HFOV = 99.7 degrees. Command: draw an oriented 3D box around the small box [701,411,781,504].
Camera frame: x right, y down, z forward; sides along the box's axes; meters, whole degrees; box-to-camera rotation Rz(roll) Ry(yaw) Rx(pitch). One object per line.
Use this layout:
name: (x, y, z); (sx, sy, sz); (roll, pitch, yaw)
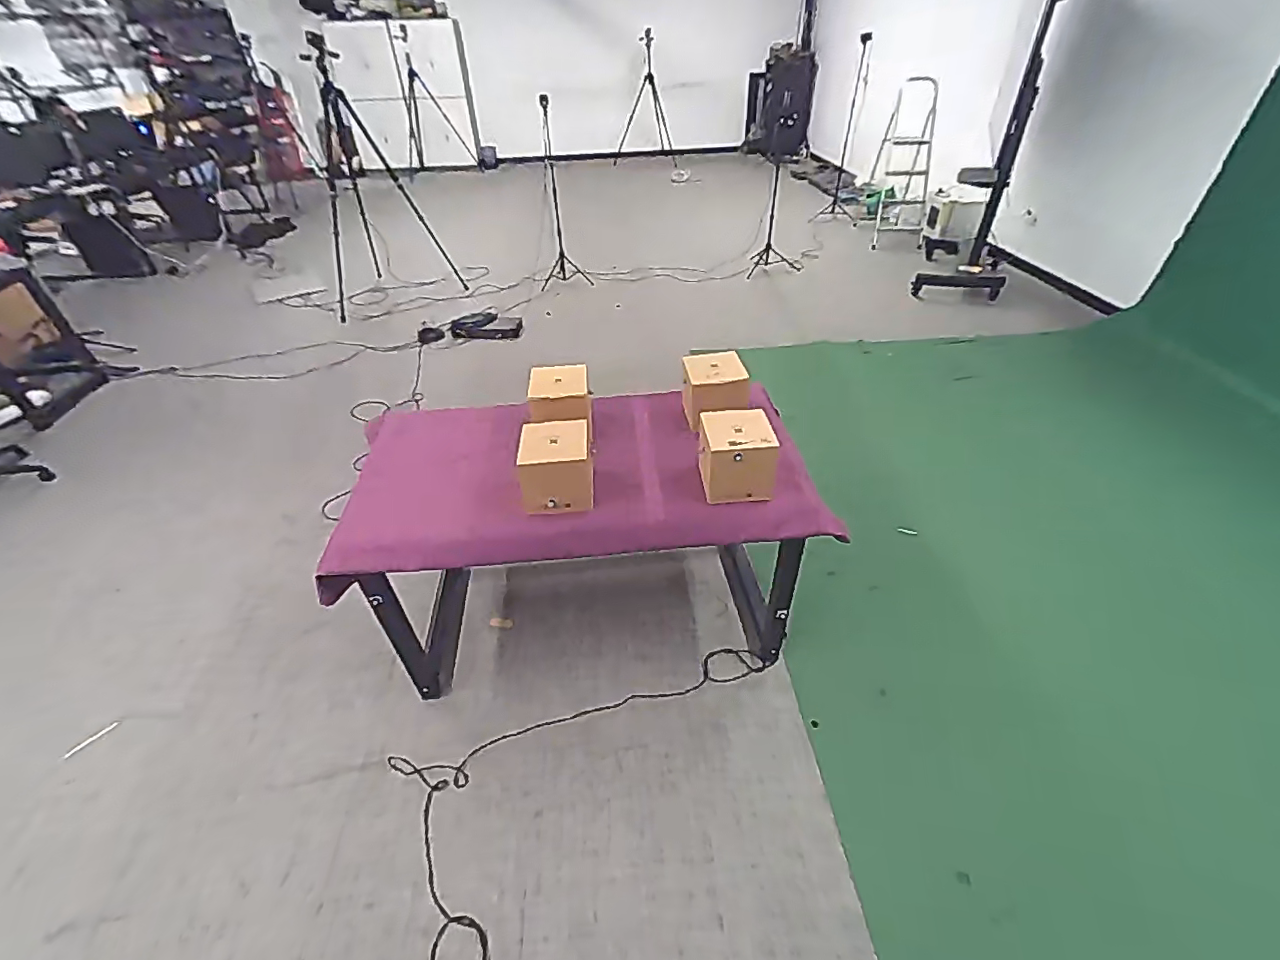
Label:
small box: (0.248, -0.058, 1.376); (0.168, 0.176, 0.179); (-4, 37, -1)

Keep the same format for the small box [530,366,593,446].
small box: (-0.228, -0.219, 1.594); (0.168, 0.176, 0.179); (-4, 41, -4)

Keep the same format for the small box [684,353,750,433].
small box: (0.225, -0.261, 1.622); (0.168, 0.176, 0.179); (-7, 40, -2)
